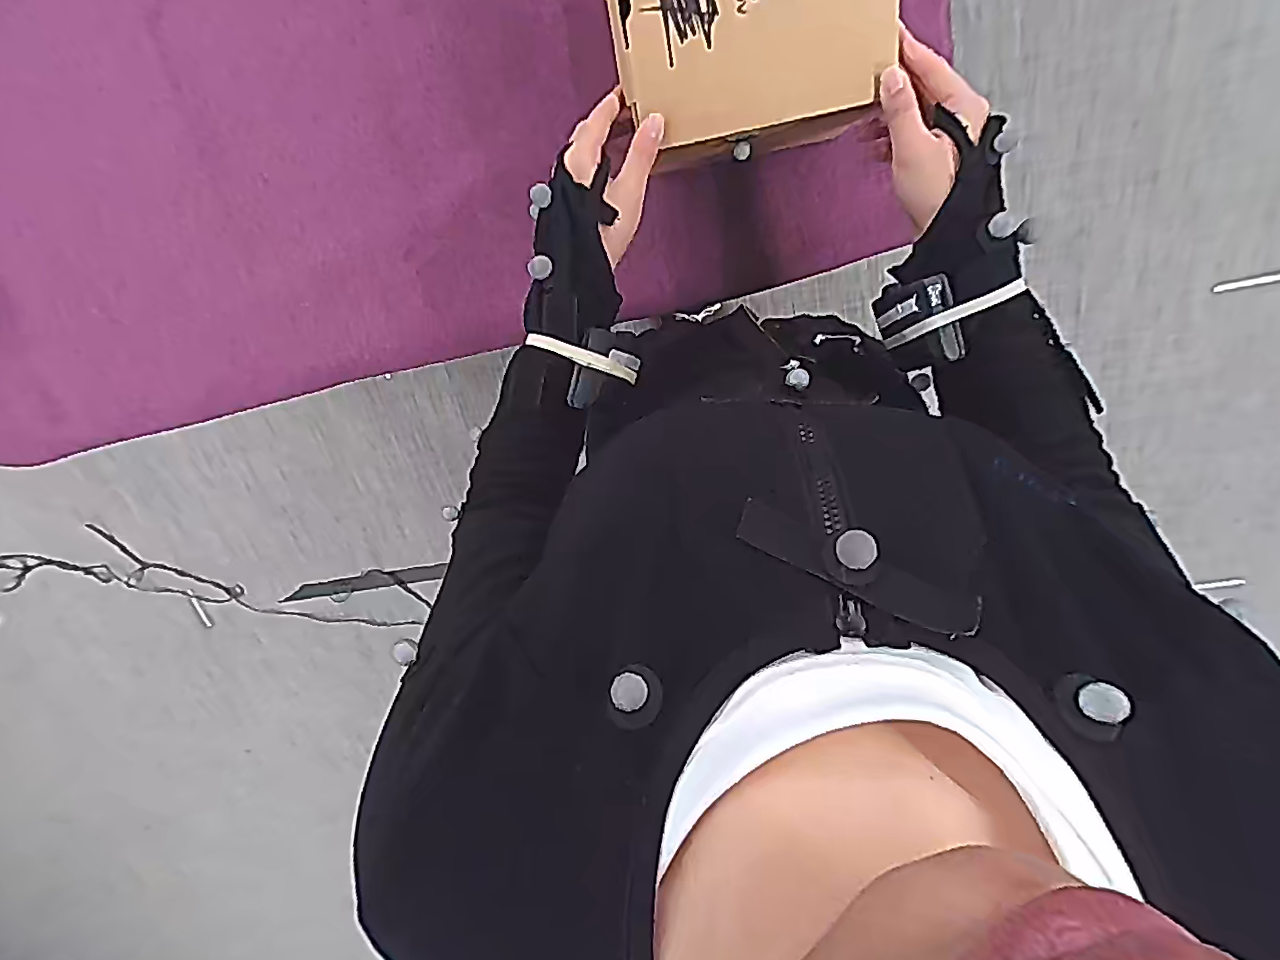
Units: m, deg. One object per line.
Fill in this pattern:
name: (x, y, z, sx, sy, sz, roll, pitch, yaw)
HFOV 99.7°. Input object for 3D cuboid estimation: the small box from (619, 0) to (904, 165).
small box: (0.077, -0.349, 0.403, 0.179, 0.176, 0.168, -8, 114, 7)
